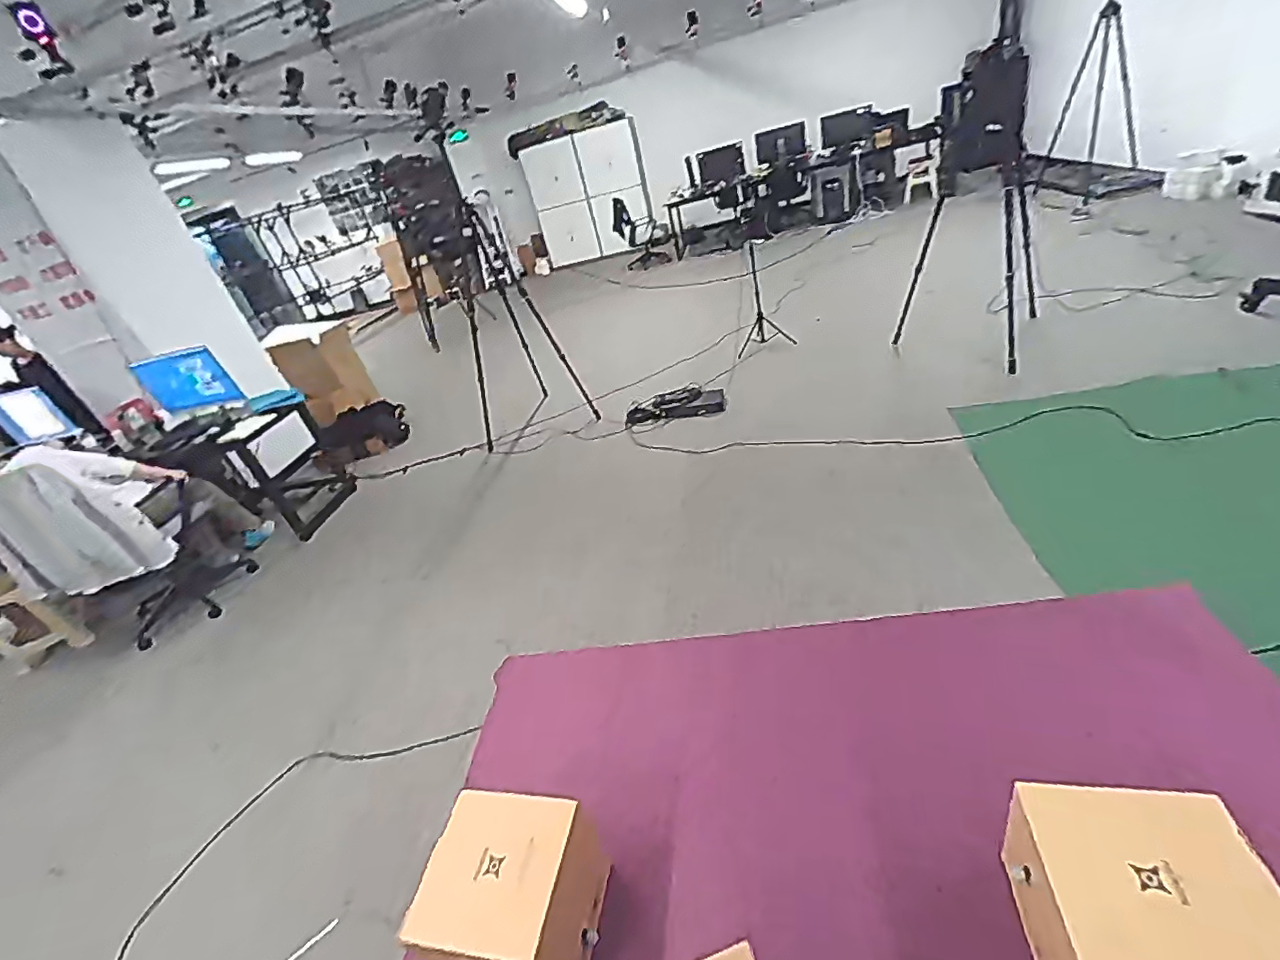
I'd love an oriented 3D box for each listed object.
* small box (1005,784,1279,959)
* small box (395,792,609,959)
[{"bbox_3d":[0.482,0.430,0.530,0.179,0.176,0.168,-6,33,17],"label":"small box"},{"bbox_3d":[-0.158,0.527,0.683,0.179,0.176,0.168,-5,33,18],"label":"small box"}]
